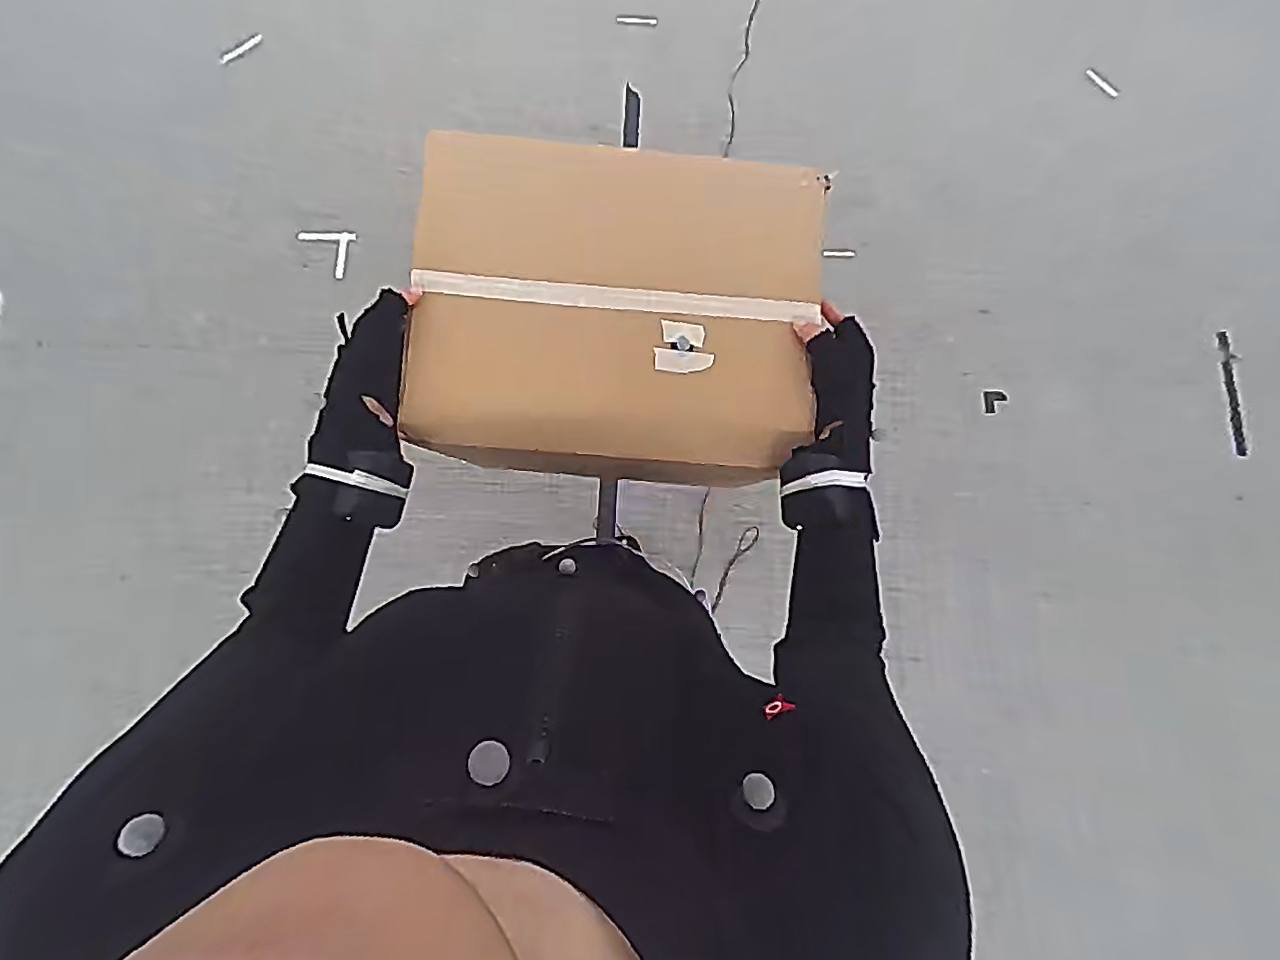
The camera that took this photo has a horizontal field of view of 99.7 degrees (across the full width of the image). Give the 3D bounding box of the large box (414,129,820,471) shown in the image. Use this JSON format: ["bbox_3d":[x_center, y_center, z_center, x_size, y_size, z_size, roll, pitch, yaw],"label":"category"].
[{"bbox_3d":[-0.028,-0.185,0.696,0.408,0.320,0.320,4,88,-3],"label":"large box"}]
